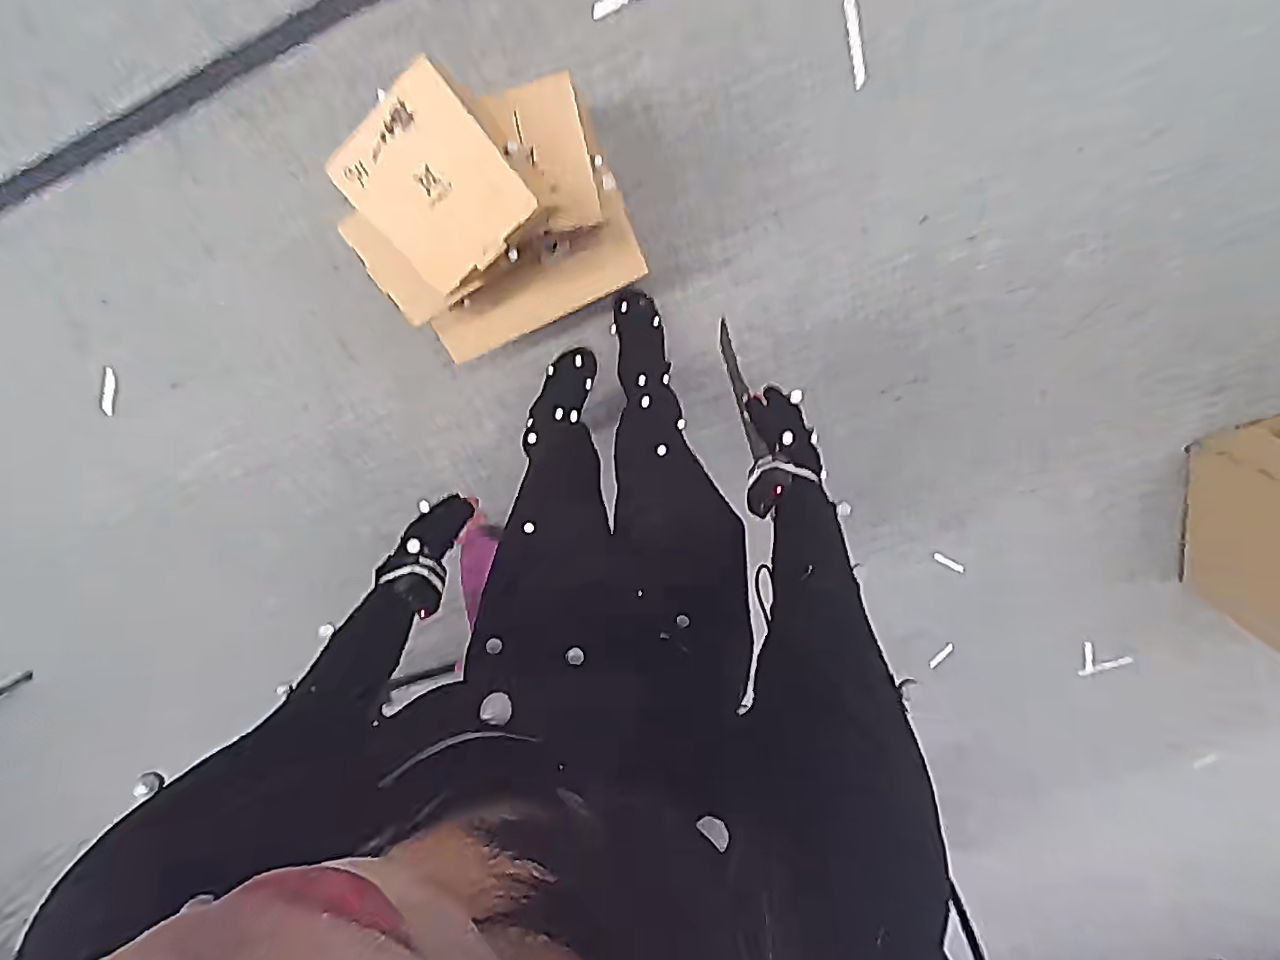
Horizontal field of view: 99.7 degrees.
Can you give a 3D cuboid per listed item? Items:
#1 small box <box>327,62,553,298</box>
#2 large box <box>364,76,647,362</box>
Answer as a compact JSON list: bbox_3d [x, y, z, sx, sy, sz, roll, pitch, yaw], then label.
[{"bbox_3d":[-0.227,-0.359,0.668,0.168,0.176,0.179,-35,113,16],"label":"small box"},{"bbox_3d":[-0.232,-0.487,1.060,0.408,0.320,0.320,-24,116,10],"label":"large box"}]
